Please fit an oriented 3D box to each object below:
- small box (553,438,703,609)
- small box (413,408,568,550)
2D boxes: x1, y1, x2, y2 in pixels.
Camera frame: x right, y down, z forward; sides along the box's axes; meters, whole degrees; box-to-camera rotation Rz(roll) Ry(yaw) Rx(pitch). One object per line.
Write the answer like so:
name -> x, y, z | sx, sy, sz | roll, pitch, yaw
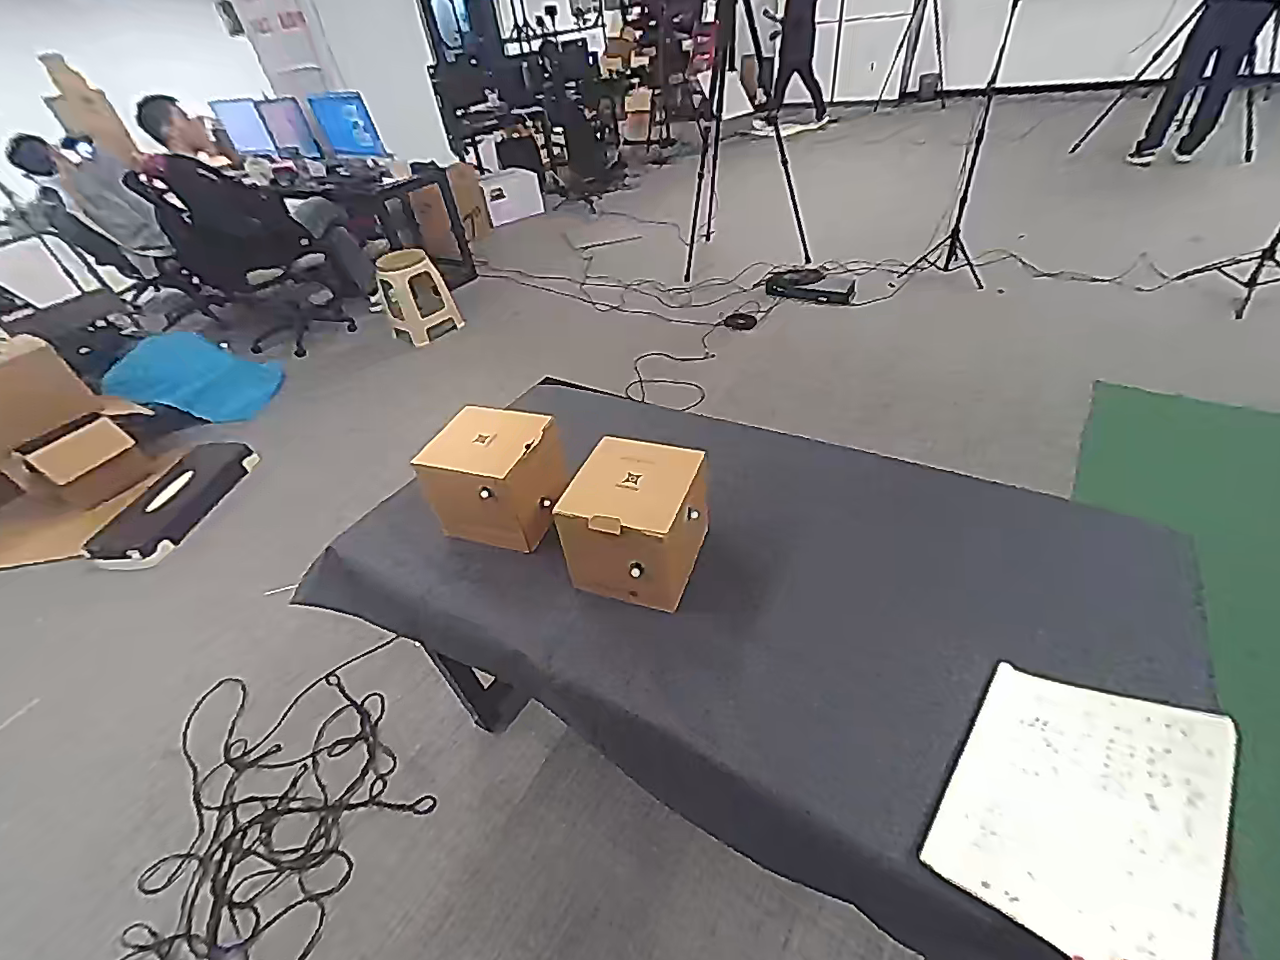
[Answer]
small box -> -0.004, 0.064, 0.805 | 0.168, 0.176, 0.179 | 11, 43, 19
small box -> -0.242, -0.002, 0.921 | 0.179, 0.176, 0.168 | 9, 43, 18
